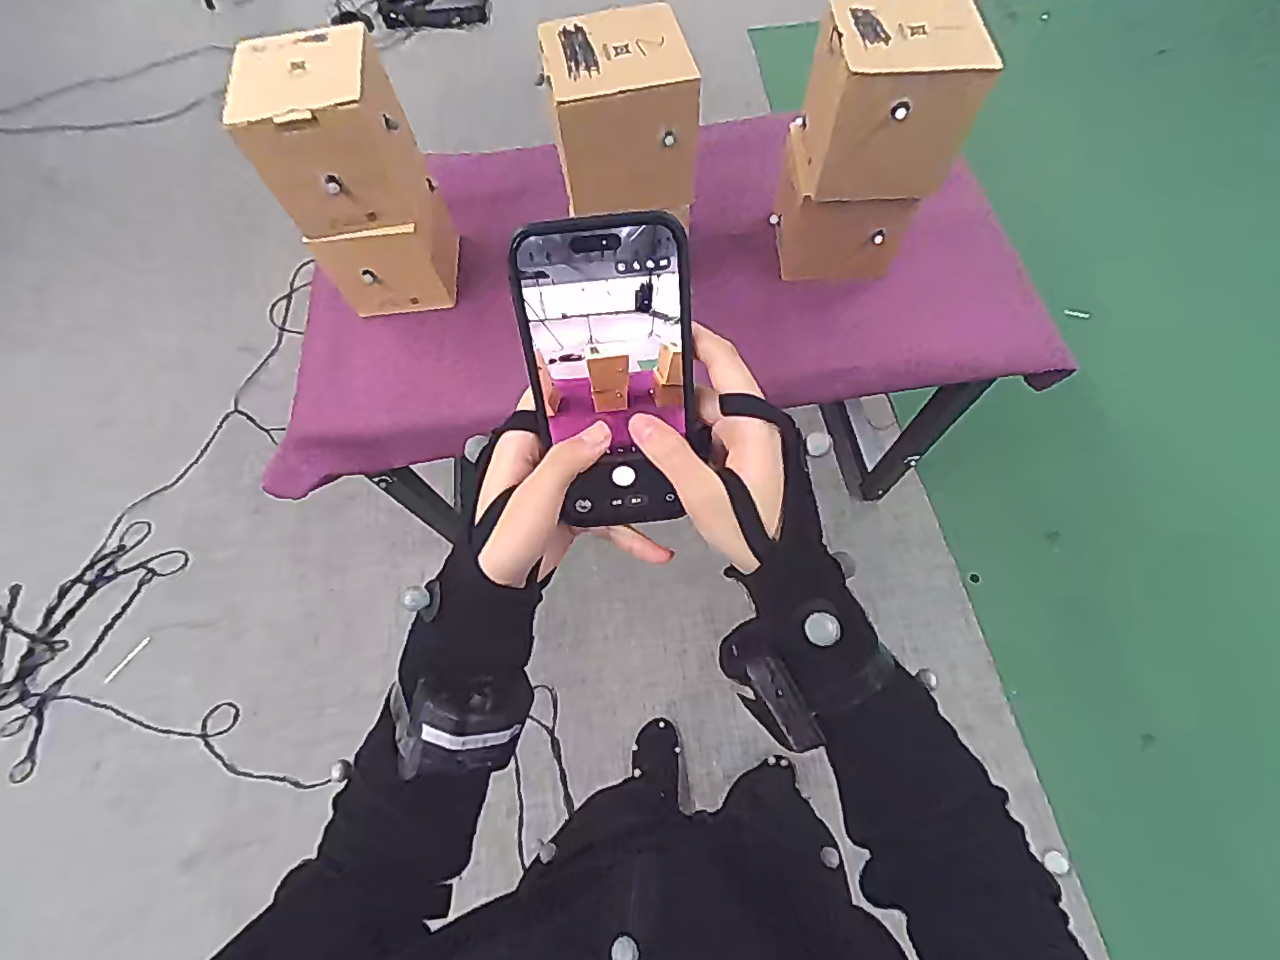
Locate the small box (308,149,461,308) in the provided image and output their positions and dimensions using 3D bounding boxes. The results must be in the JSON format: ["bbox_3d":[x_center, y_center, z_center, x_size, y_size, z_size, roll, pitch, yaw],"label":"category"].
[{"bbox_3d":[-0.406,-0.403,0.892,0.168,0.176,0.179,-5,66,1],"label":"small box"}]

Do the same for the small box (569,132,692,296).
[{"bbox_3d":[-0.016,-0.424,0.880,0.179,0.176,0.168,-6,66,1],"label":"small box"}]

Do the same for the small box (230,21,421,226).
[{"bbox_3d":[-0.415,-0.476,0.745,0.168,0.176,0.179,-10,67,-2],"label":"small box"}]

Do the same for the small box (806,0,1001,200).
[{"bbox_3d":[0.326,-0.497,0.717,0.179,0.176,0.168,0,66,2],"label":"small box"}]

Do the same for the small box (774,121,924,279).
[{"bbox_3d":[0.324,-0.445,0.873,0.179,0.176,0.168,0,66,3],"label":"small box"}]
